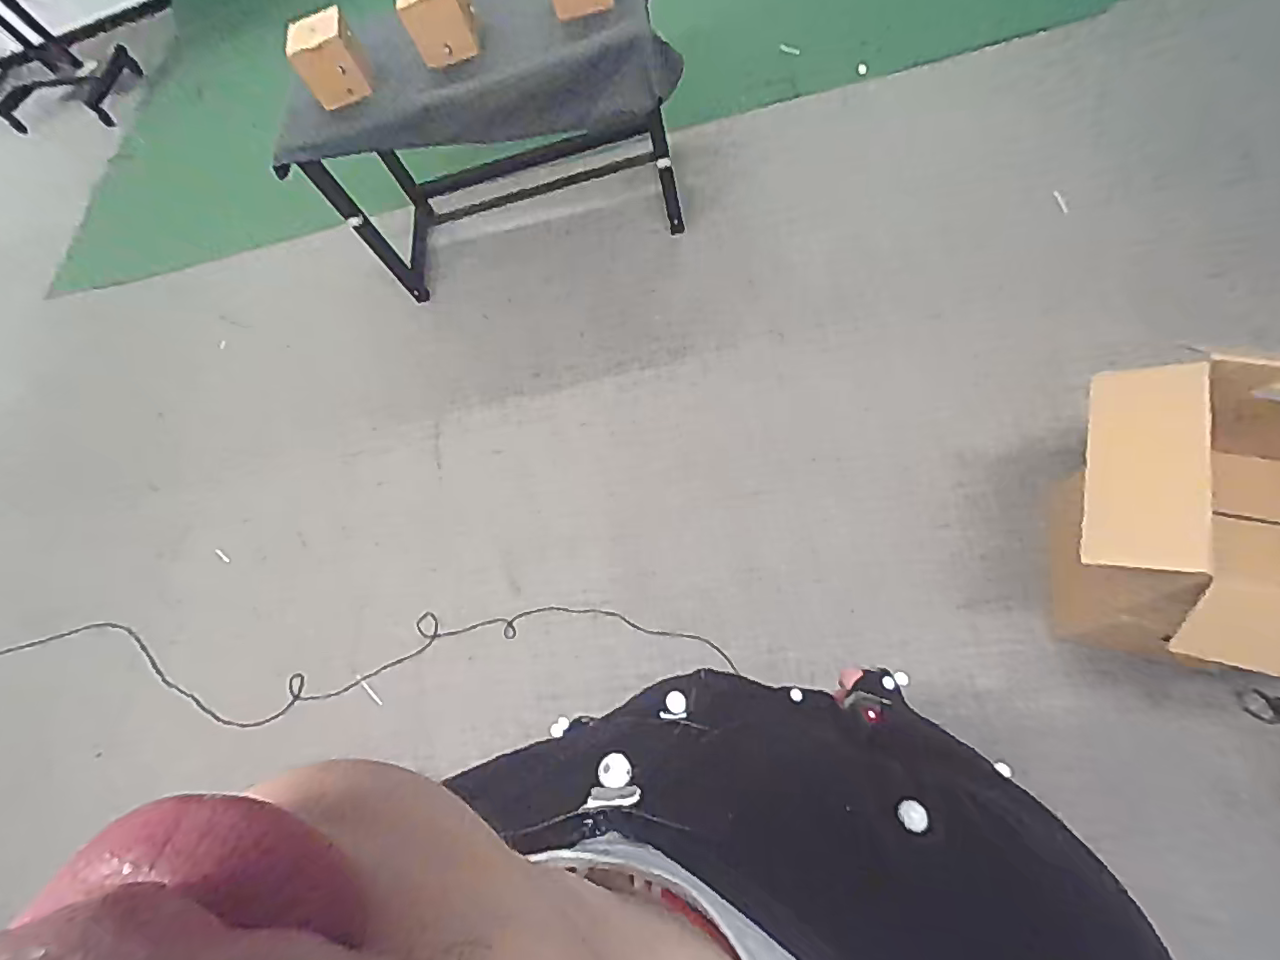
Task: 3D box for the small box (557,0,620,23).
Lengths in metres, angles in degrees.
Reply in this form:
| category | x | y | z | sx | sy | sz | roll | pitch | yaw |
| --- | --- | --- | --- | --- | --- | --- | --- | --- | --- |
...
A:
| category | x | y | z | sx | sy | sz | roll | pitch | yaw |
| --- | --- | --- | --- | --- | --- | --- | --- | --- | --- |
| small box | -0.161 | -1.474 | 1.563 | 0.179 | 0.176 | 0.168 | -4 | 67 | 12 |

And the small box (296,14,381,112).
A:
| category | x | y | z | sx | sy | sz | roll | pitch | yaw |
| --- | --- | --- | --- | --- | --- | --- | --- | --- | --- |
| small box | -0.931 | -1.287 | 1.683 | 0.168 | 0.176 | 0.179 | -17 | 62 | 5 |

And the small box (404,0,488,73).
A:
| category | x | y | z | sx | sy | sz | roll | pitch | yaw |
| --- | --- | --- | --- | --- | --- | --- | --- | --- | --- |
| small box | -0.577 | -1.383 | 1.633 | 0.179 | 0.176 | 0.168 | -8 | 65 | 10 |
